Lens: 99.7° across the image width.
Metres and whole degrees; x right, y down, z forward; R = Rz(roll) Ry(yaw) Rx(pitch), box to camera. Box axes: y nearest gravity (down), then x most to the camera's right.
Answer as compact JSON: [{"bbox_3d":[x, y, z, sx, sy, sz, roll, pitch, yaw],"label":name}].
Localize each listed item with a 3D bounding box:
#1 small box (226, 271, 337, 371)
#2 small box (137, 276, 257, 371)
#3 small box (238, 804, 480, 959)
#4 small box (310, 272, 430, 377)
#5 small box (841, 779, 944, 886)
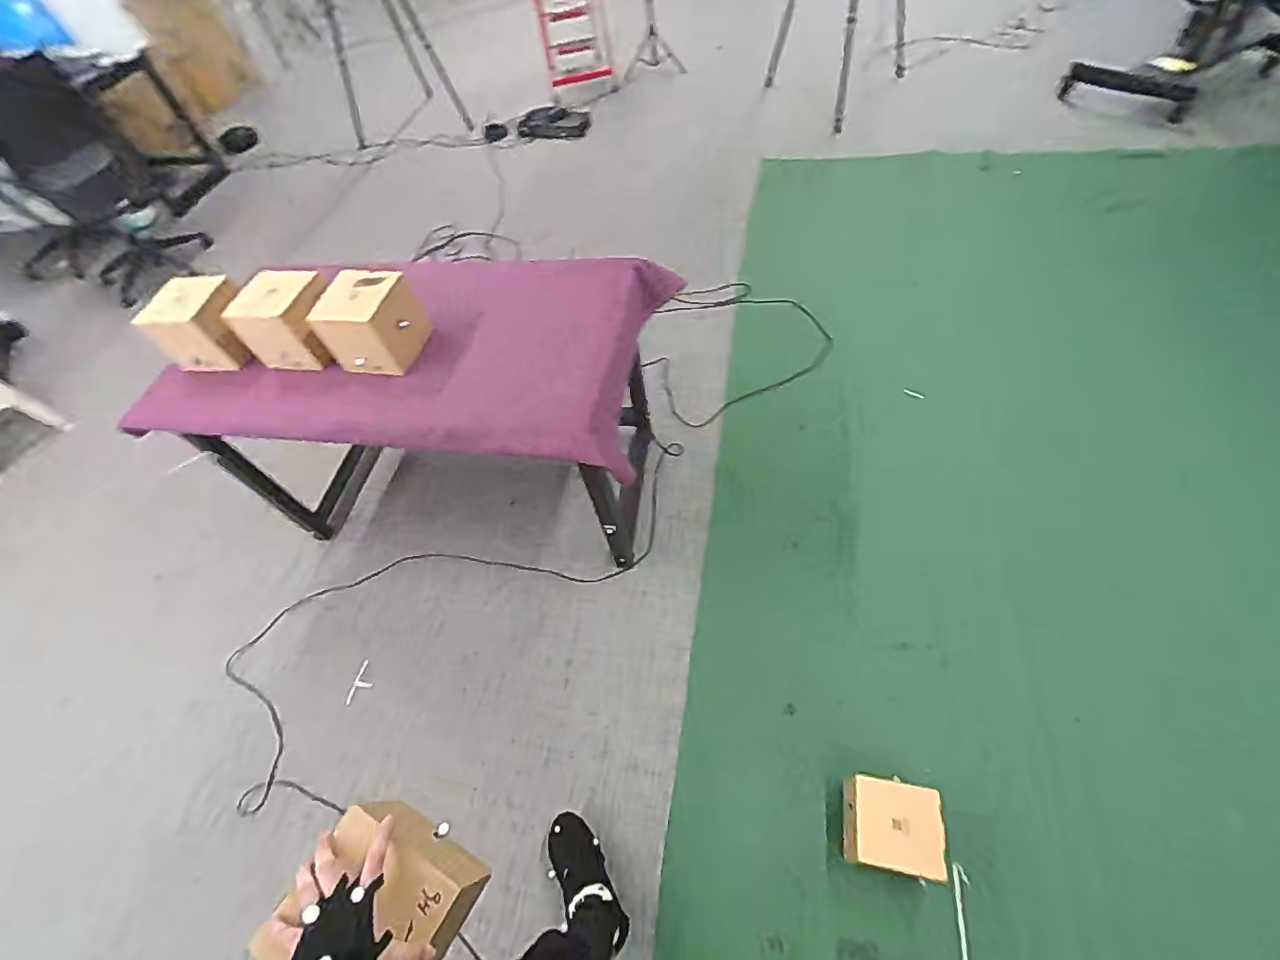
[{"bbox_3d":[-0.866,-0.399,1.358,0.168,0.176,0.179,5,57,12],"label":"small box"},{"bbox_3d":[-1.113,-0.402,1.398,0.168,0.176,0.179,1,56,10],"label":"small box"},{"bbox_3d":[-0.333,0.540,0.679,0.179,0.176,0.168,27,63,14],"label":"small box"},{"bbox_3d":[-0.638,-0.375,1.308,0.168,0.176,0.179,7,58,13],"label":"small box"},{"bbox_3d":[0.554,0.789,1.210,0.179,0.176,0.168,6,56,12],"label":"small box"}]
